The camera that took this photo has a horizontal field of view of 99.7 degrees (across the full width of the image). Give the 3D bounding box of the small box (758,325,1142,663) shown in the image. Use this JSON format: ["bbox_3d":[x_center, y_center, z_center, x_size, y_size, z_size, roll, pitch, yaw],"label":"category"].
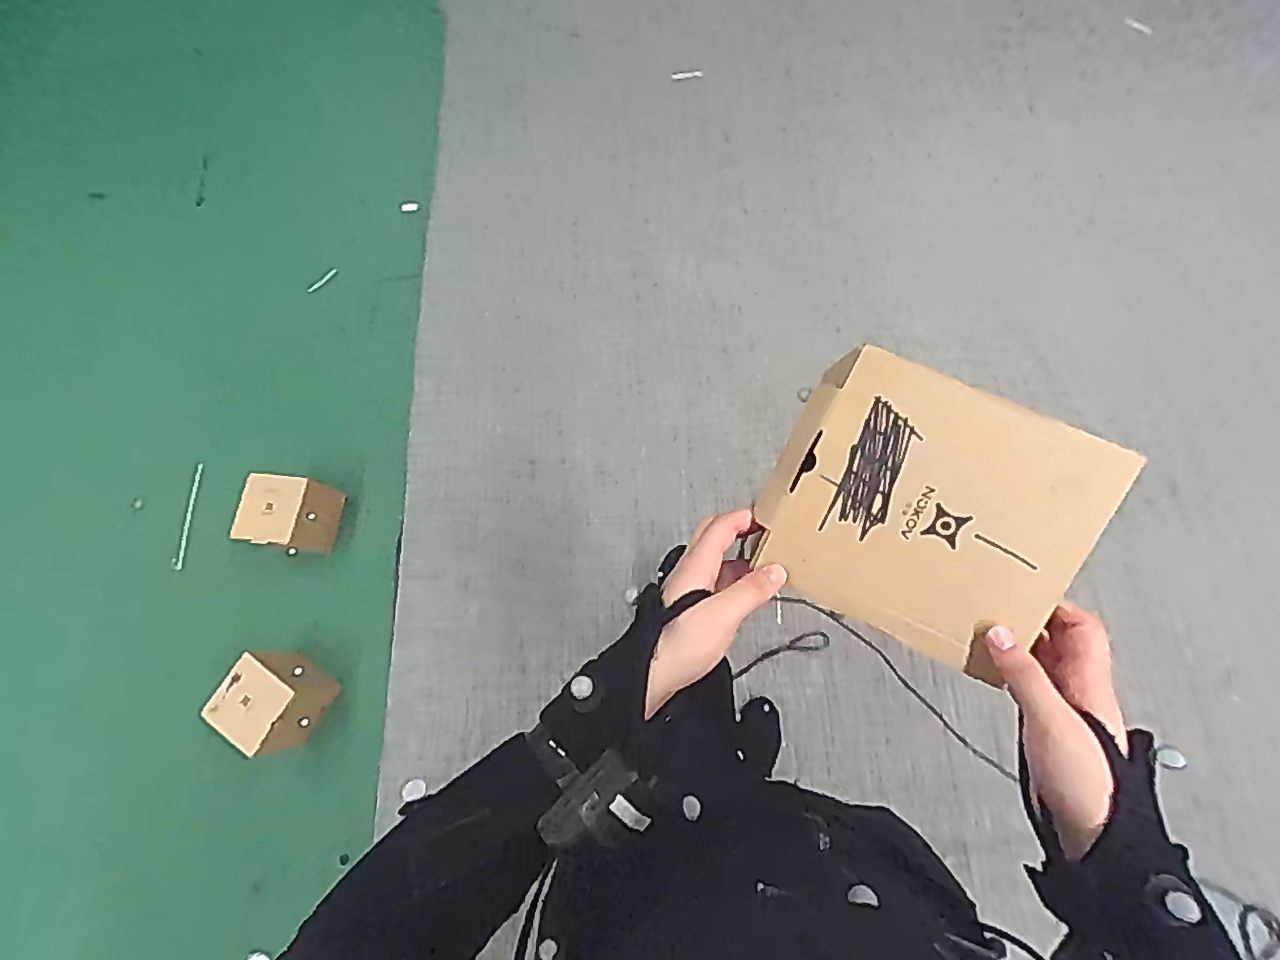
[{"bbox_3d":[0.202,0.003,0.419,0.179,0.176,0.168,25,99,7],"label":"small box"}]

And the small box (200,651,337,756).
[{"bbox_3d":[-0.884,0.526,1.306,0.179,0.176,0.168,30,79,13],"label":"small box"}]

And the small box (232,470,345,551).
[{"bbox_3d":[-0.926,0.088,1.442,0.168,0.176,0.179,5,73,6],"label":"small box"}]
